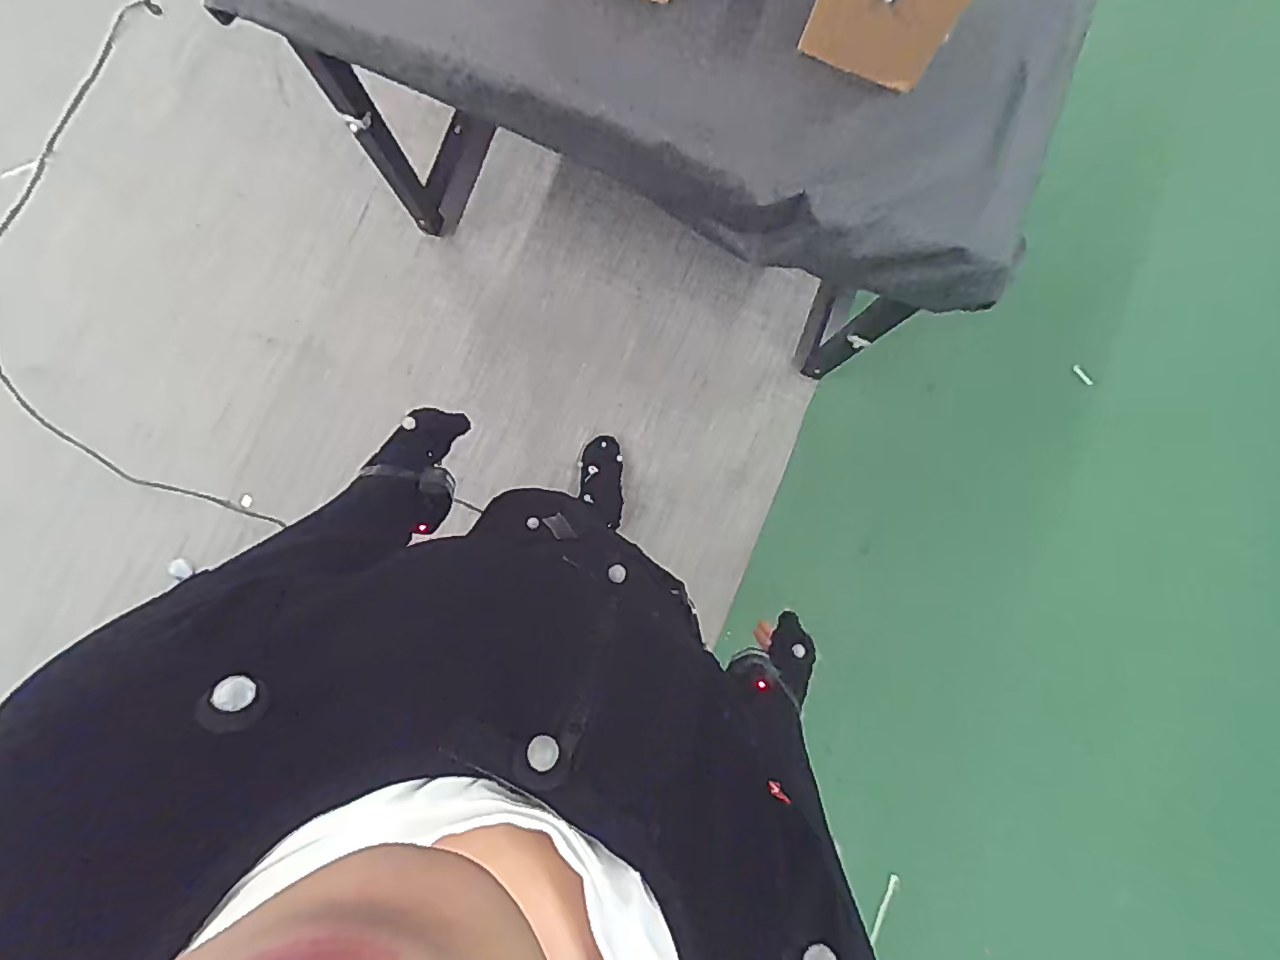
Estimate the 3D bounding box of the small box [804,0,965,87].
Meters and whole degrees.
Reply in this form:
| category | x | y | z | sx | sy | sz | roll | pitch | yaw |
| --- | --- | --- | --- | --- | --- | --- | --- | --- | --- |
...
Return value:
| category | x | y | z | sx | sy | sz | roll | pitch | yaw |
| --- | --- | --- | --- | --- | --- | --- | --- | --- | --- |
| small box | 0.345 | -0.679 | 0.720 | 0.179 | 0.176 | 0.168 | 22 | 87 | -2 |
